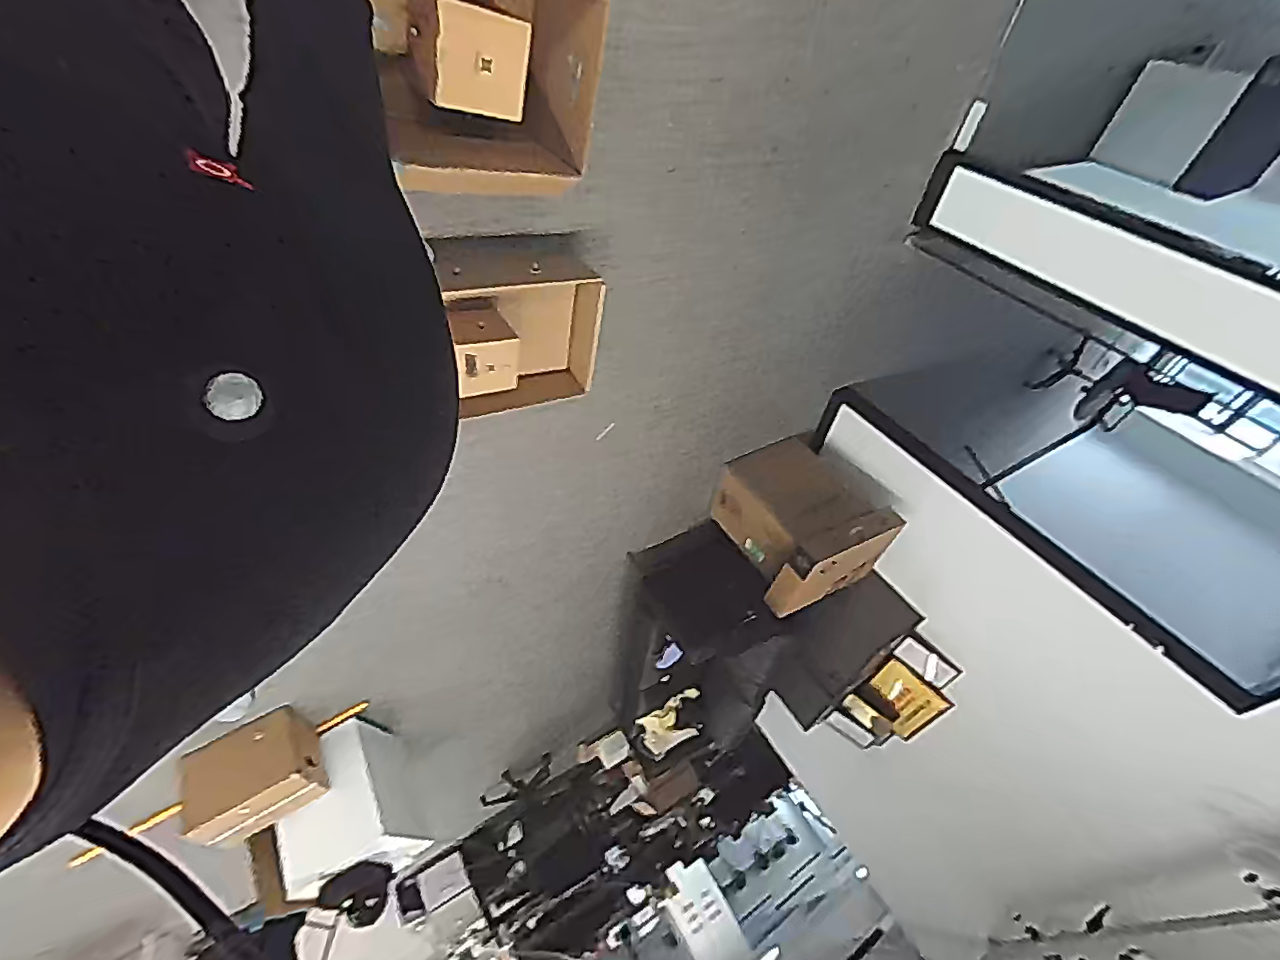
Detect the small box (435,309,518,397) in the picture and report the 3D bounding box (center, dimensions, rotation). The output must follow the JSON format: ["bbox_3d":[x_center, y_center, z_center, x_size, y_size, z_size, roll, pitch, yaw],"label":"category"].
[{"bbox_3d":[-0.456,-0.354,1.489,0.179,0.176,0.168,-17,142,-32],"label":"small box"}]
